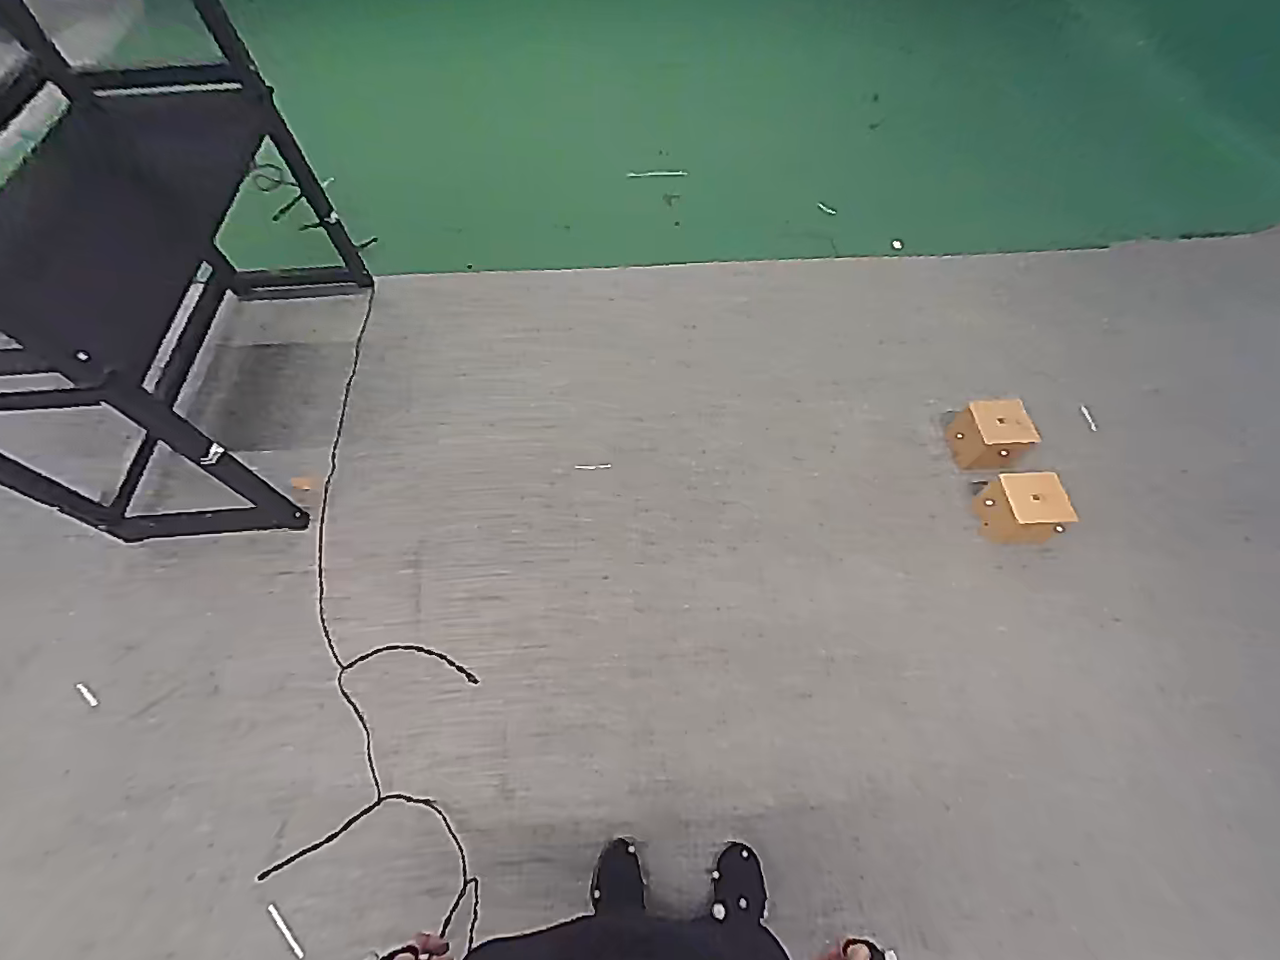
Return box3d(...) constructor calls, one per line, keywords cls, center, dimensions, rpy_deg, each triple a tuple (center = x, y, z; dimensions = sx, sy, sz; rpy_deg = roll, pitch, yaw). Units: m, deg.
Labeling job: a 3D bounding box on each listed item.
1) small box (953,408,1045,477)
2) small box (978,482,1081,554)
box3d(cls="small box", center=(1.148, -0.118, 1.752), dimensions=(0.179, 0.176, 0.168), rpy_deg=(0, 62, 0))
box3d(cls="small box", center=(1.153, 0.118, 1.625), dimensions=(0.179, 0.176, 0.168), rpy_deg=(0, 61, 0))
